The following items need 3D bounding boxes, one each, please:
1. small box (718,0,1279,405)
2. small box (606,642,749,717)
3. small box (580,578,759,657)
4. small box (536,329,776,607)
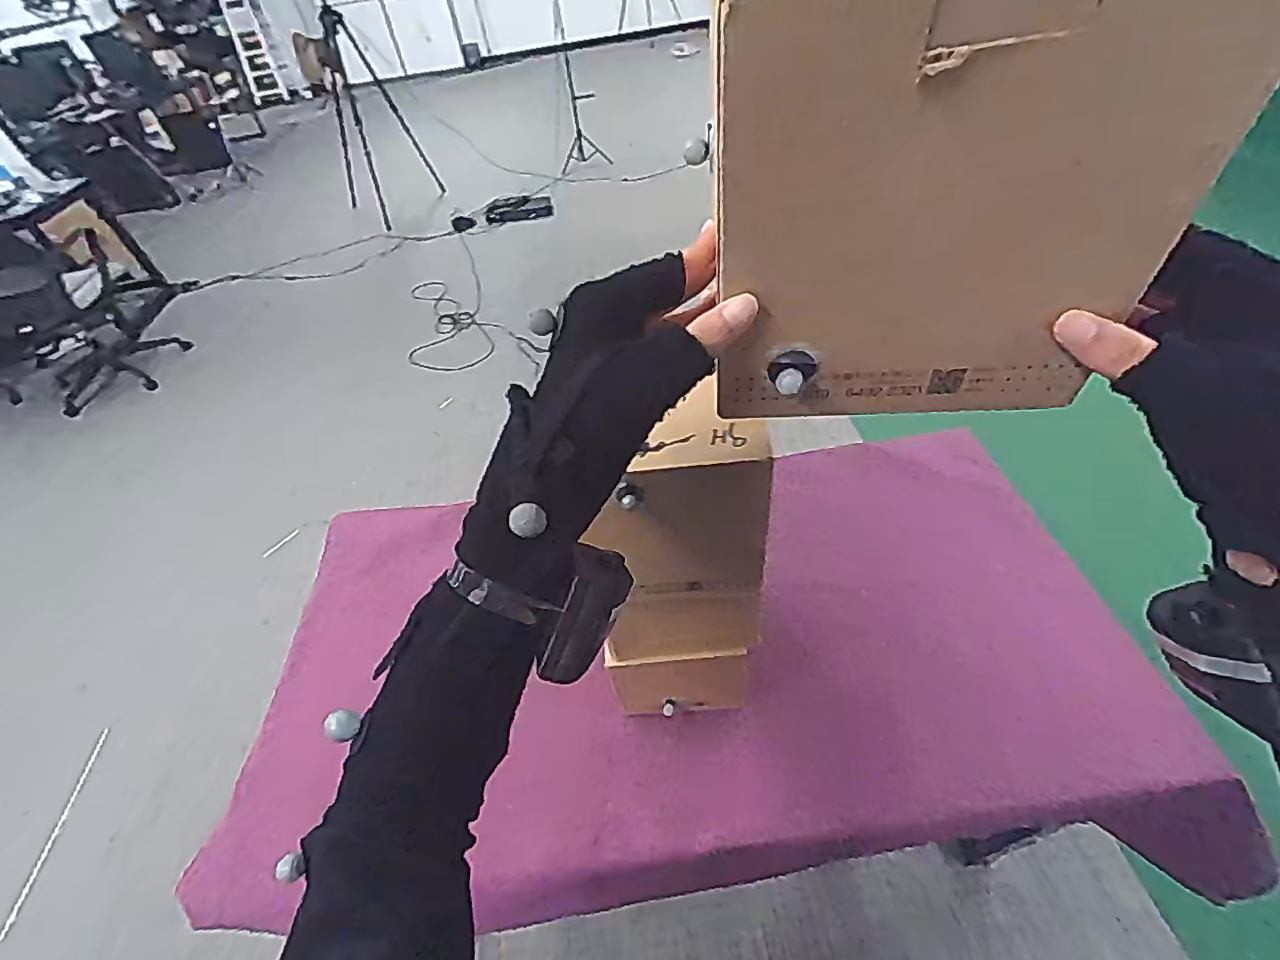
[{"bbox_3d":[0.122,-0.147,0.254,0.168,0.176,0.179,-1,49,8],"label":"small box"},{"bbox_3d":[0.048,0.196,0.728,0.168,0.176,0.179,-7,47,4],"label":"small box"},{"bbox_3d":[0.036,0.085,0.612,0.179,0.176,0.168,-7,47,3],"label":"small box"},{"bbox_3d":[0.018,-0.010,0.477,0.168,0.176,0.179,-6,45,5],"label":"small box"}]
